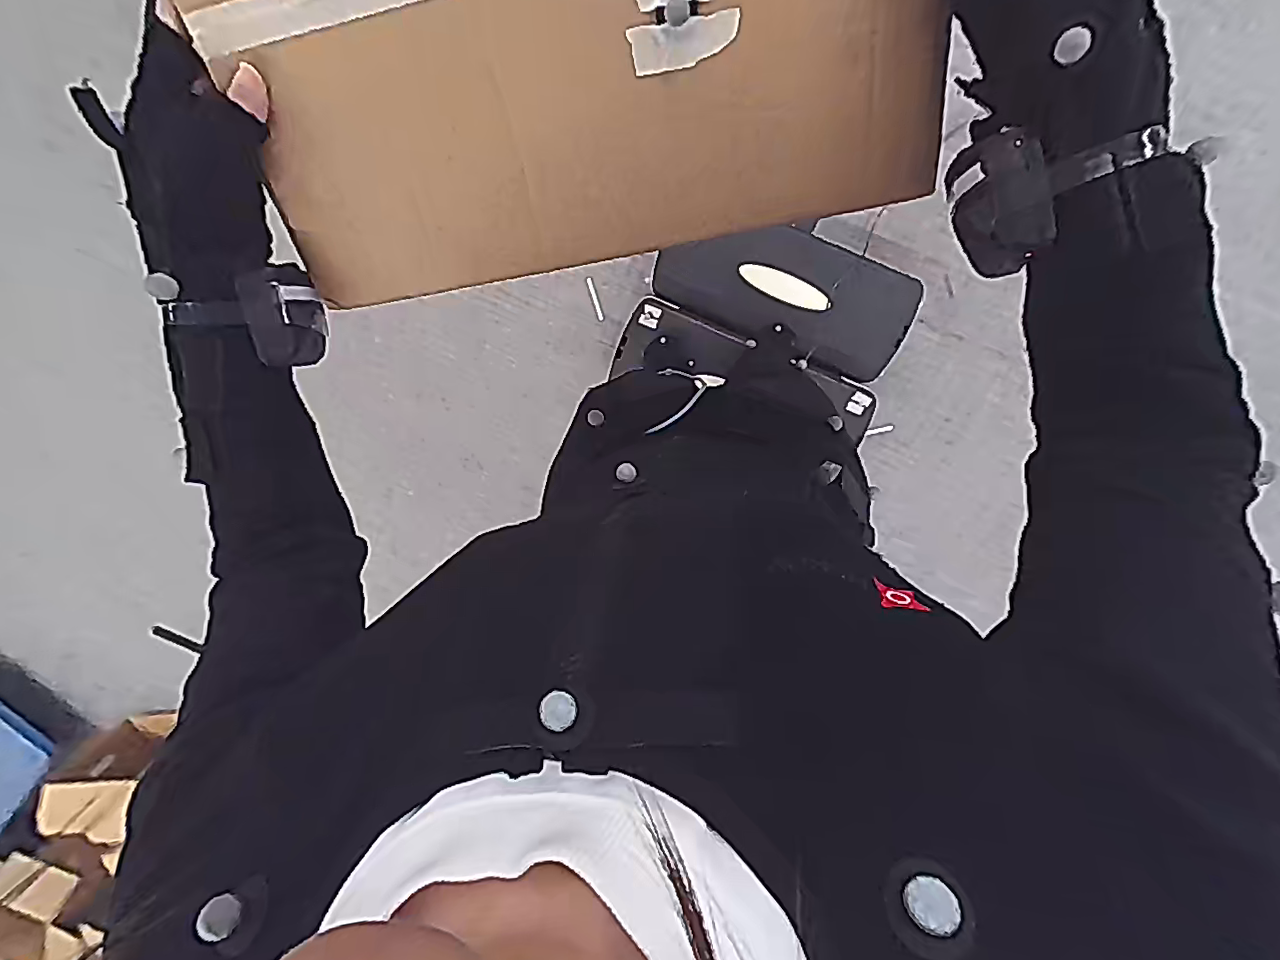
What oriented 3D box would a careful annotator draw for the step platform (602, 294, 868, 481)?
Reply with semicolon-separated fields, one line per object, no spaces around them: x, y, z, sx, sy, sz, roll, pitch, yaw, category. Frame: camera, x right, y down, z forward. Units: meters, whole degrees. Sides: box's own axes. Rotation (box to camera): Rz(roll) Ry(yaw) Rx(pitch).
0.245;-0.251;1.463;0.684;0.204;0.286;23;108;2;step platform

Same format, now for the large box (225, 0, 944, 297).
-0.034;-0.363;0.414;0.408;0.320;0.320;-7;121;9;large box
